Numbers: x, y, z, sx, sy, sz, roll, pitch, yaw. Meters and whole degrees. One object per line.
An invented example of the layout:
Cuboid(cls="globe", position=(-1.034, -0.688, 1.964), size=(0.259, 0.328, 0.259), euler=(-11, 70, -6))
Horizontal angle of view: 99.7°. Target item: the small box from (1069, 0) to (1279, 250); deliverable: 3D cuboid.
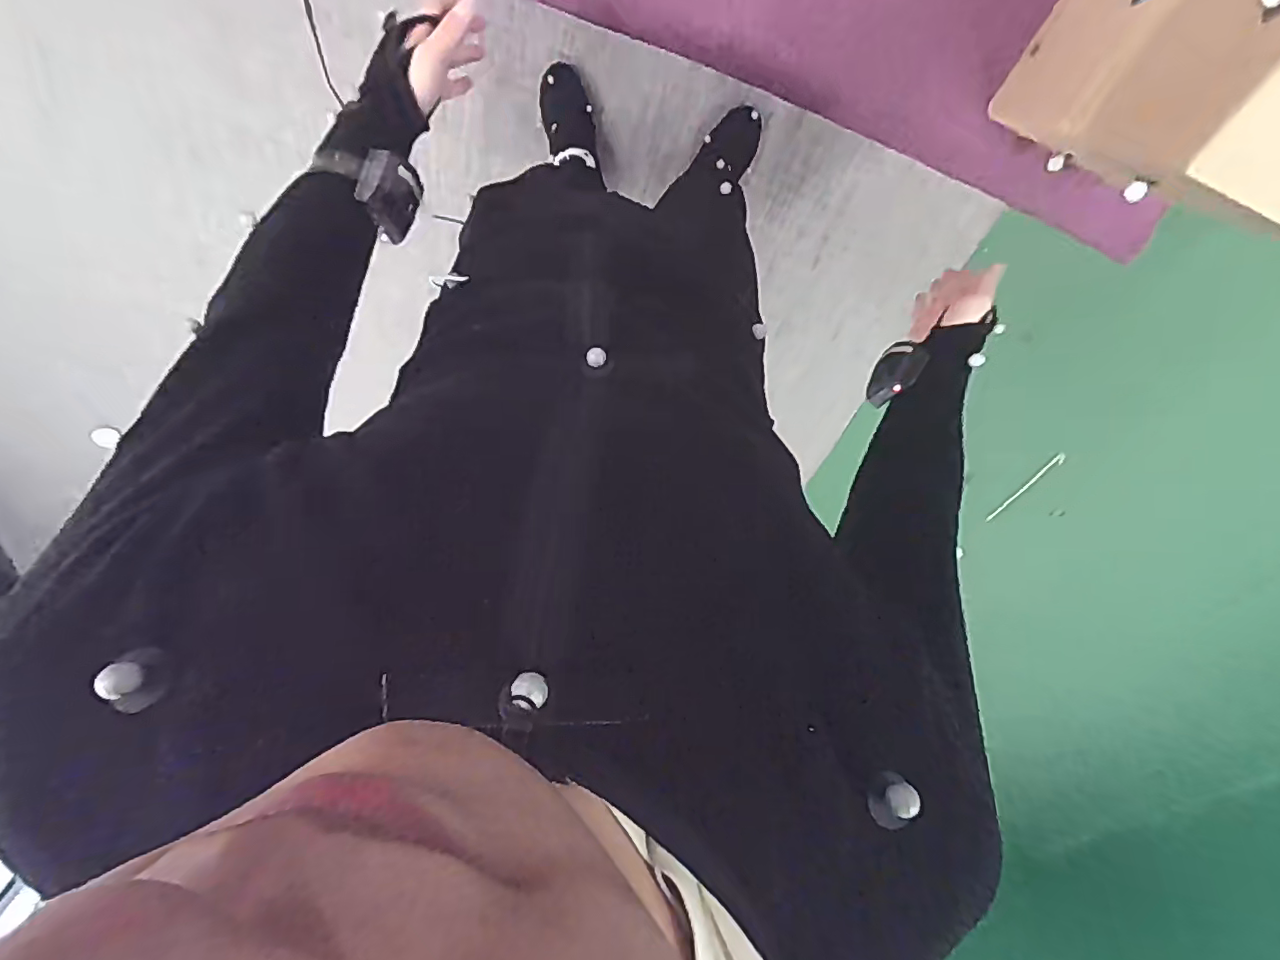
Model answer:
Cuboid(cls="small box", position=(0.464, -0.283, 0.376), size=(0.168, 0.176, 0.179), euler=(22, 128, -8))

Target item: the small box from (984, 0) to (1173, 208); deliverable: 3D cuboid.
Cuboid(cls="small box", position=(0.477, -0.383, 0.503), size=(0.179, 0.176, 0.168), euler=(21, 127, -10))
